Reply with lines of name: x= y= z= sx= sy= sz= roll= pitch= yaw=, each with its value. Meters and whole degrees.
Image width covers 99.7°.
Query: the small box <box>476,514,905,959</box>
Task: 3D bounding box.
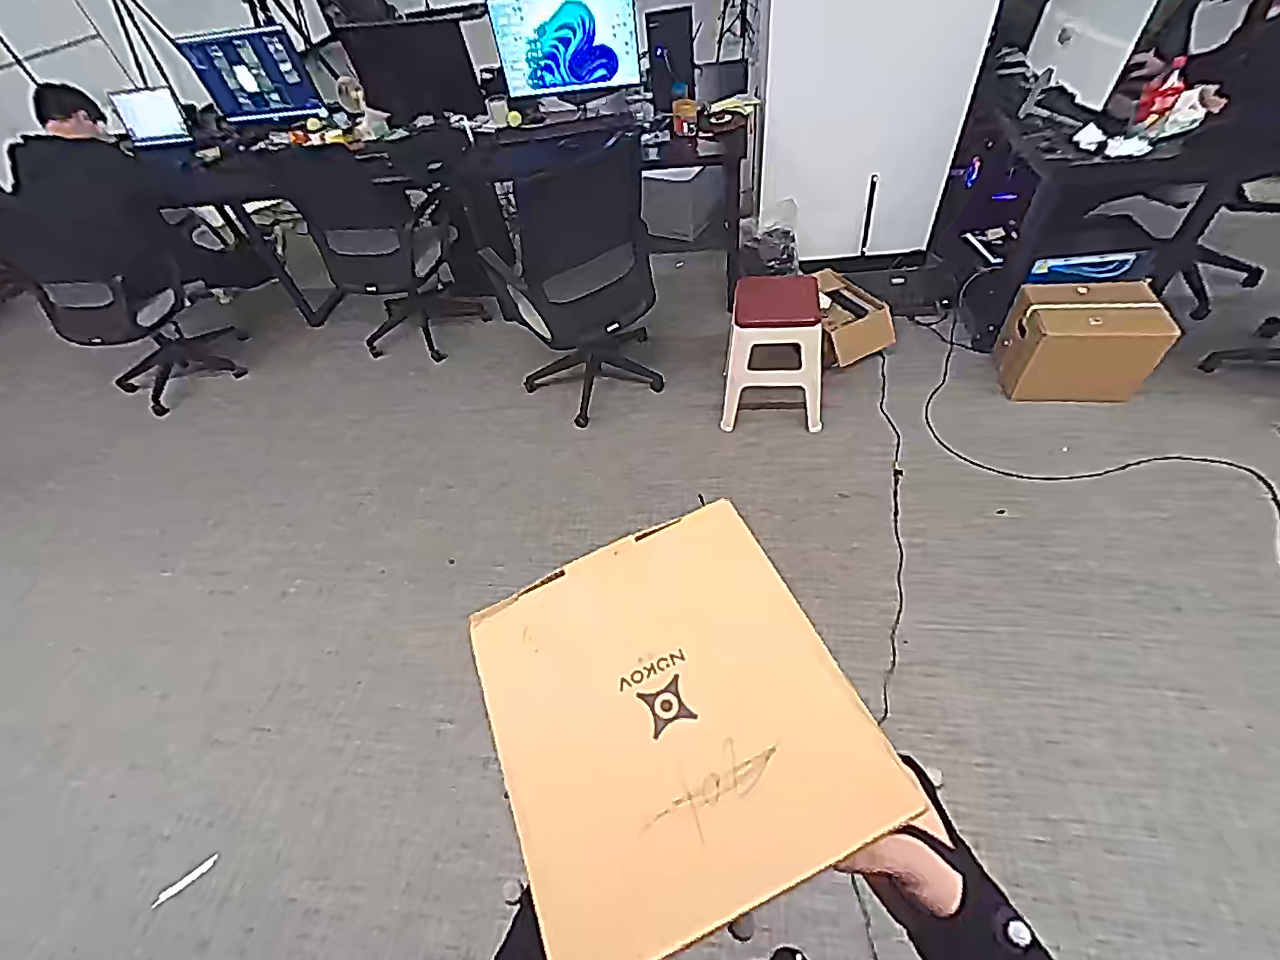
small box: x=0.022 y=0.158 z=0.338 sx=0.168 sy=0.176 sz=0.179 roll=-24 pitch=56 yaw=-6
